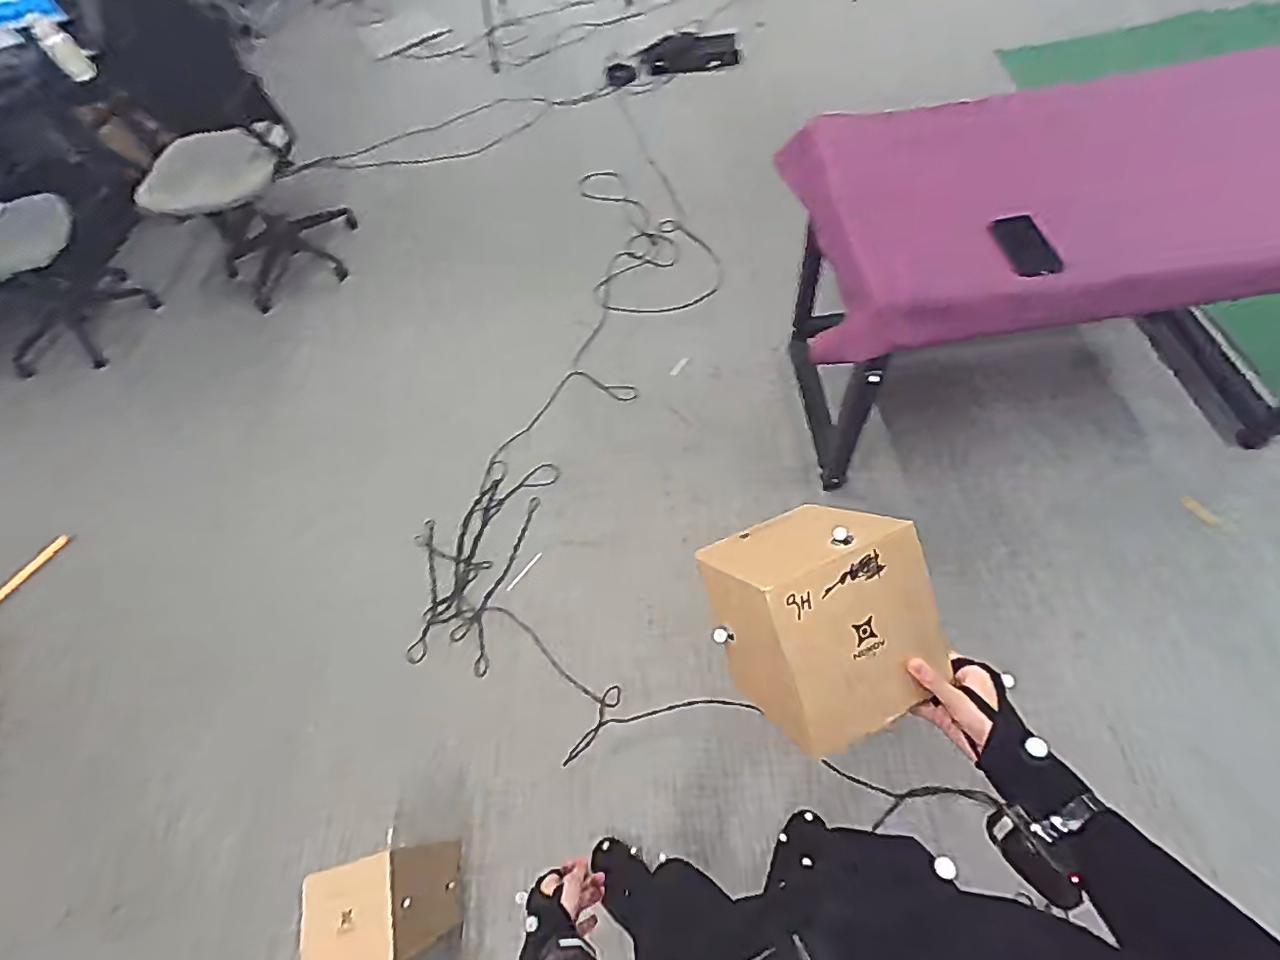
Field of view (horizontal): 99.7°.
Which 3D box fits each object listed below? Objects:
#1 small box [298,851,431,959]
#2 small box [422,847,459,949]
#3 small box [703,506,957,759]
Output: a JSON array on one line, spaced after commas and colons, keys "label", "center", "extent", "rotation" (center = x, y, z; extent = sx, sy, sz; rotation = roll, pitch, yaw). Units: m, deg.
[{"label": "small box", "center": [-0.510, 0.831, 1.021], "extent": [0.168, 0.176, 0.179], "rotation": [-17, 59, -2]}, {"label": "small box", "center": [-0.501, 0.908, 1.165], "extent": [0.179, 0.176, 0.168], "rotation": [-14, 59, 1]}, {"label": "small box", "center": [0.187, 0.141, 0.568], "extent": [0.168, 0.176, 0.179], "rotation": [-19, 99, -14]}]
